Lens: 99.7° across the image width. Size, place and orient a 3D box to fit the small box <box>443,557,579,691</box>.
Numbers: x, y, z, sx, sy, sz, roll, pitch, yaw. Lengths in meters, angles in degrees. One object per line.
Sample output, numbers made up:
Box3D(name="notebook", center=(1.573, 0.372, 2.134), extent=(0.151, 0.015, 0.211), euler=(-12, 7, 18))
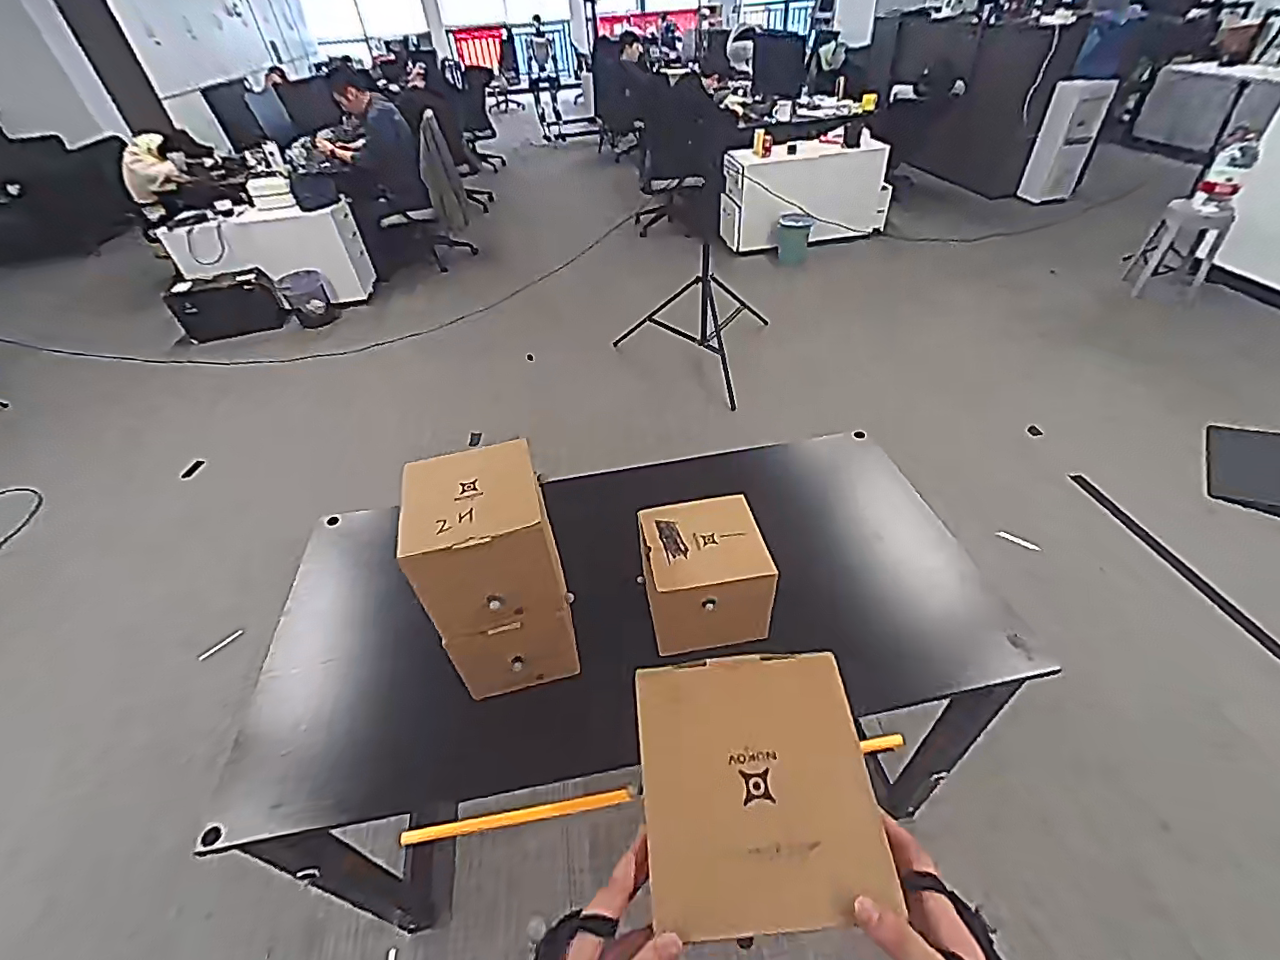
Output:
Box3D(name="small box", center=(-0.196, 0.205, 0.841), extent=(0.168, 0.176, 0.179), euler=(-13, 43, -7))

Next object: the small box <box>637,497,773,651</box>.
Box3D(name="small box", center=(0.098, 0.153, 0.865), extent=(0.179, 0.176, 0.168), euler=(-9, 42, -4))

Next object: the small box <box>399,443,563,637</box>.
Box3D(name="small box", center=(-0.208, 0.079, 0.733), extent=(0.168, 0.176, 0.179), euler=(-14, 43, -8))

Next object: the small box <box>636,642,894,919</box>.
Box3D(name="small box", center=(0.085, 0.259, 0.468), extent=(0.168, 0.176, 0.179), euler=(-5, 54, 0))
